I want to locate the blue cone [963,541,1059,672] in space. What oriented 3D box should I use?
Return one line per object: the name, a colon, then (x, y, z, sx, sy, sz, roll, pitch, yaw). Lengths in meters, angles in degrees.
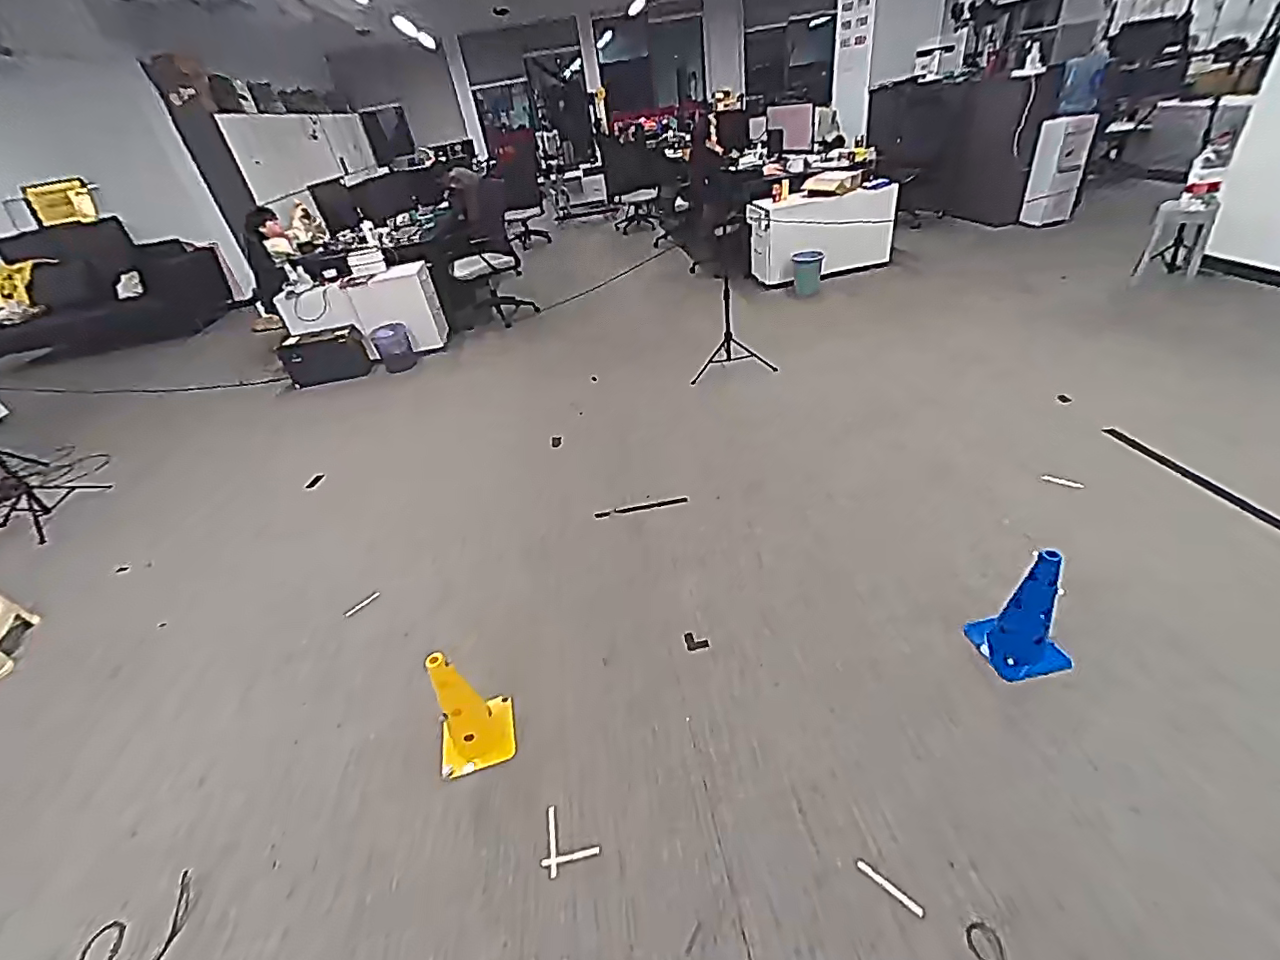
blue cone: (1.031, 0.323, 1.448, 0.193, 0.380, 0.192, -11, 34, -2)
